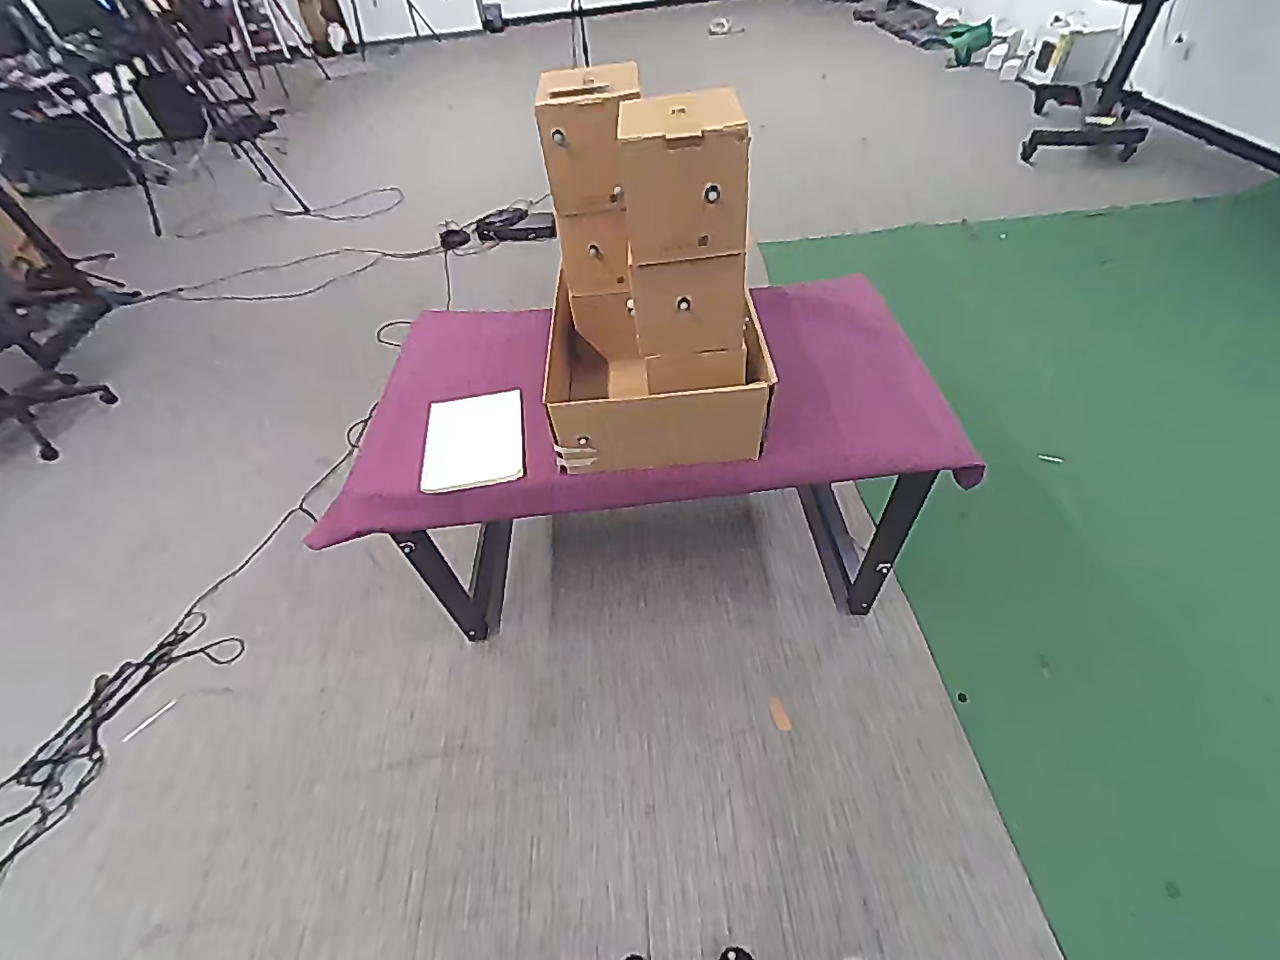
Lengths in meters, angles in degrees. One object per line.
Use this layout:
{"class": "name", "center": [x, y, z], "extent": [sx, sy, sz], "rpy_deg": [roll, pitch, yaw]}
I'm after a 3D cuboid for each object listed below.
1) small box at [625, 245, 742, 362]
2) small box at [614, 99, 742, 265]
{"class": "small box", "center": [0.073, -0.320, 0.913], "extent": [0.179, 0.176, 0.168], "rpy_deg": [-5, 47, 5]}
{"class": "small box", "center": [0.058, -0.429, 0.792], "extent": [0.168, 0.176, 0.179], "rpy_deg": [-4, 47, 4]}
